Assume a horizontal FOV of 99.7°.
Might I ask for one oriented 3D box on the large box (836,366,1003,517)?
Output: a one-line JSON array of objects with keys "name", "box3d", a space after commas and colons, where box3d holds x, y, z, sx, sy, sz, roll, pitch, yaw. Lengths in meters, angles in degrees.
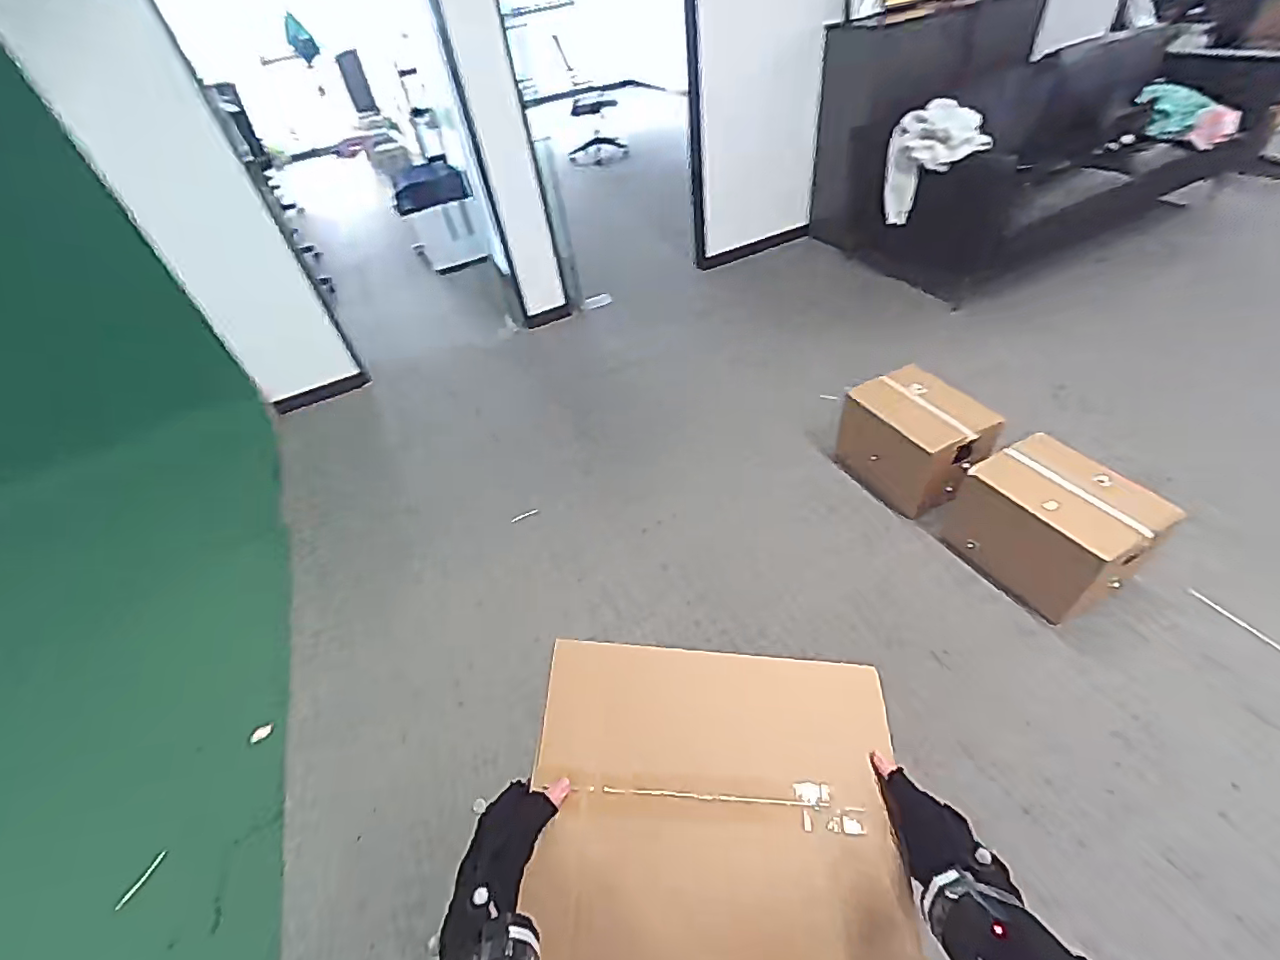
[{"name": "large box", "box3d": [0.964, -0.143, 1.924, 0.320, 0.320, 0.408, -22, 43, -13]}]
